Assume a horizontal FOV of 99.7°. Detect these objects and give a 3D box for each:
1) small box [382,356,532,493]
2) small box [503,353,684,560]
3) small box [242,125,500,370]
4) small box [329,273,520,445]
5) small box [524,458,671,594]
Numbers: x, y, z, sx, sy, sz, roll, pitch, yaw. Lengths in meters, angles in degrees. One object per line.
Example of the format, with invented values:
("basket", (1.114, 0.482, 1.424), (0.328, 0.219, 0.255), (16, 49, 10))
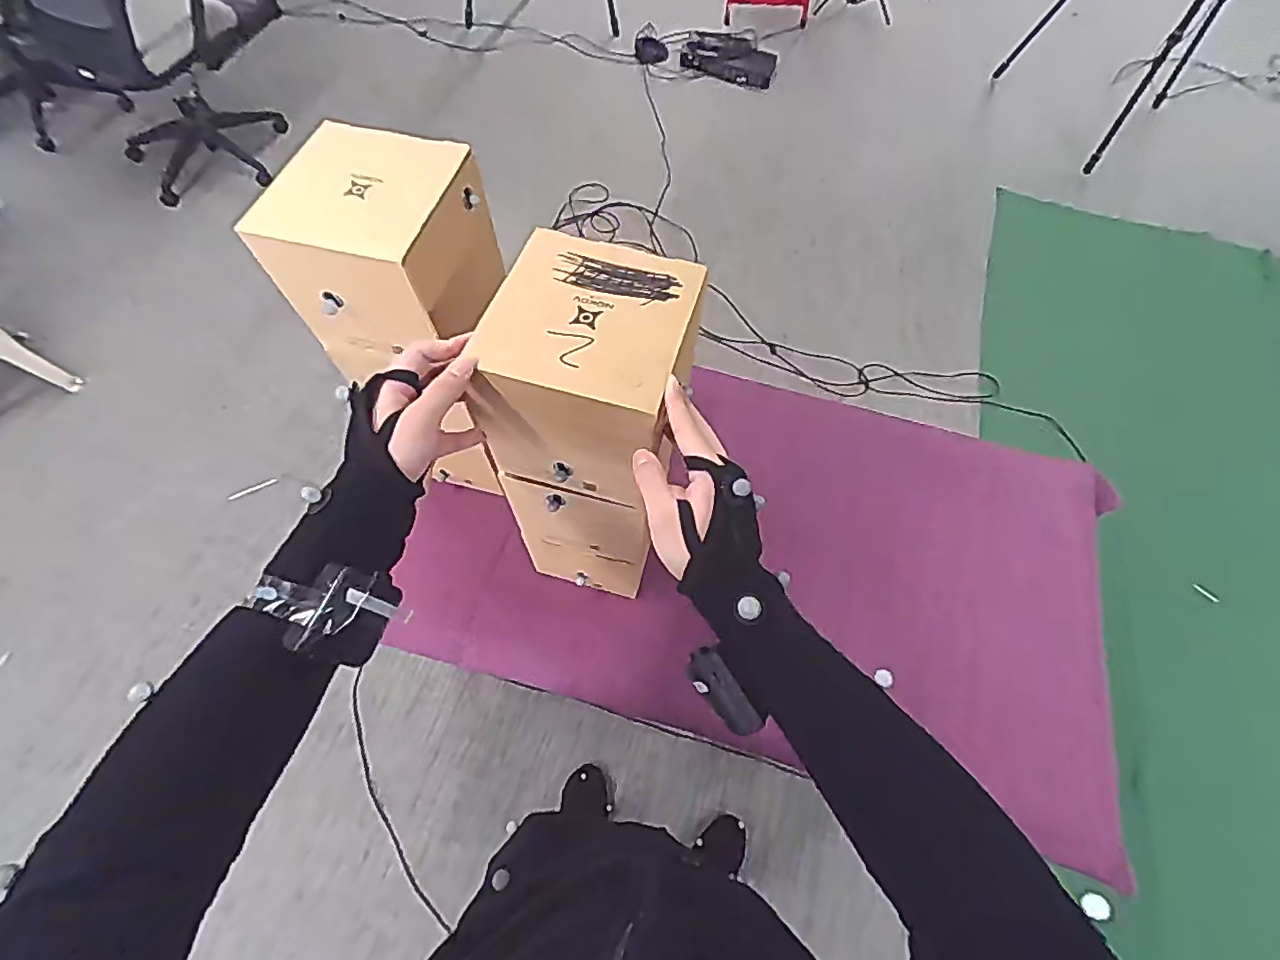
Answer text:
("small box", (-0.282, -0.103, 0.889), (0.168, 0.176, 0.179), (13, 65, 5))
("small box", (-0.051, -0.023, 0.675), (0.168, 0.176, 0.179), (14, 63, 5))
("small box", (-0.271, -0.248, 0.598), (0.168, 0.176, 0.179), (12, 64, 5))
("small box", (-0.275, -0.176, 0.743), (0.168, 0.176, 0.179), (13, 65, 5))
("small box", (-0.059, 0.053, 0.821), (0.168, 0.176, 0.179), (15, 64, 5))
